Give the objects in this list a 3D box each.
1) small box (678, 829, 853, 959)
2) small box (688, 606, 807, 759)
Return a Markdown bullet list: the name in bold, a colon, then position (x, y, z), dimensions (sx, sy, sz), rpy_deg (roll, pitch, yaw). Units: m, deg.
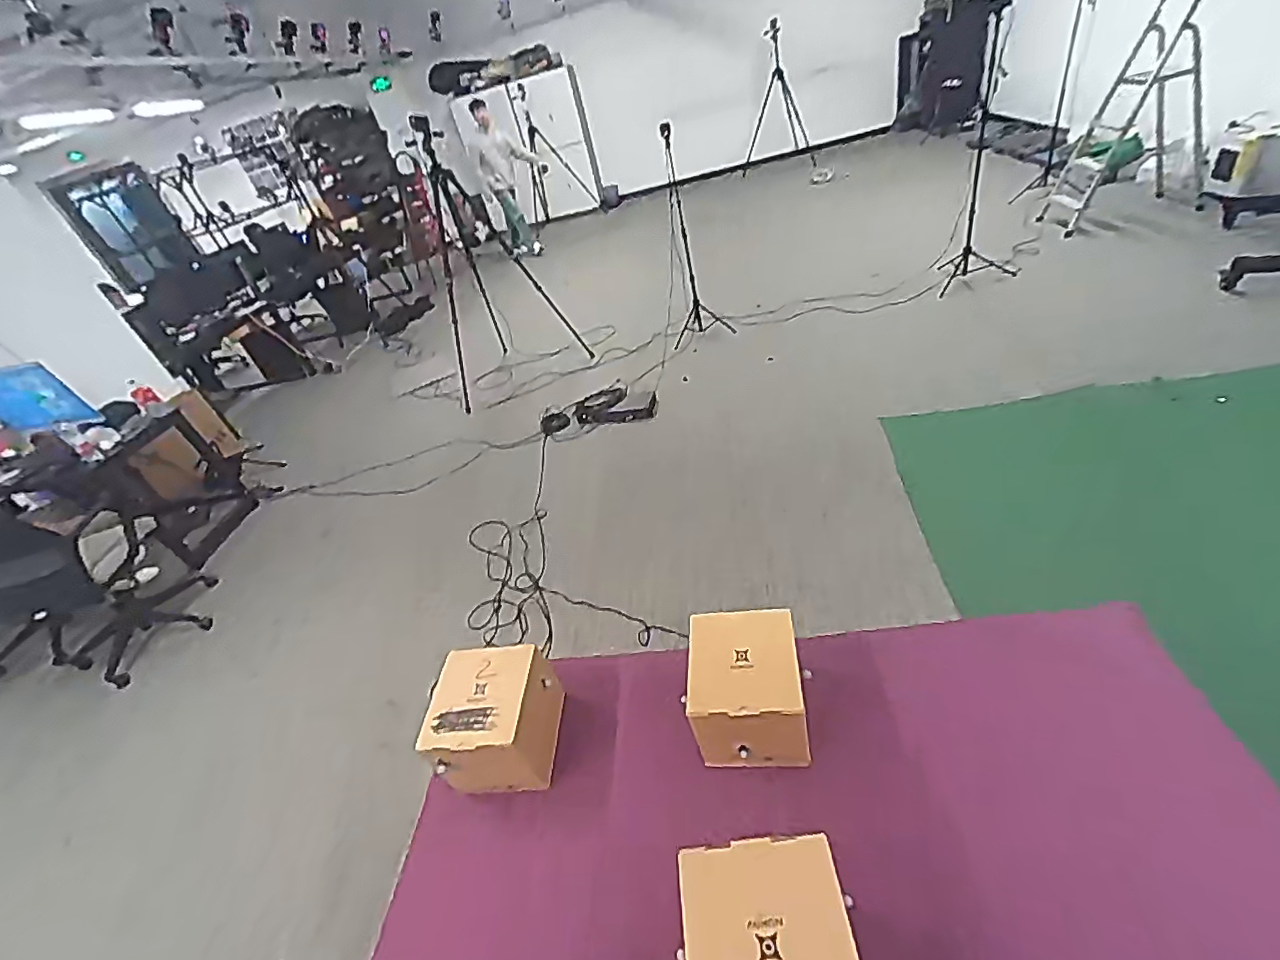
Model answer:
- **small box**: position (0.139, 0.513, 0.587), dimensions (0.168, 0.176, 0.179), rpy_deg (-11, 38, 8)
- **small box**: position (0.176, 0.330, 0.882), dimensions (0.168, 0.176, 0.179), rpy_deg (-7, 40, 14)
